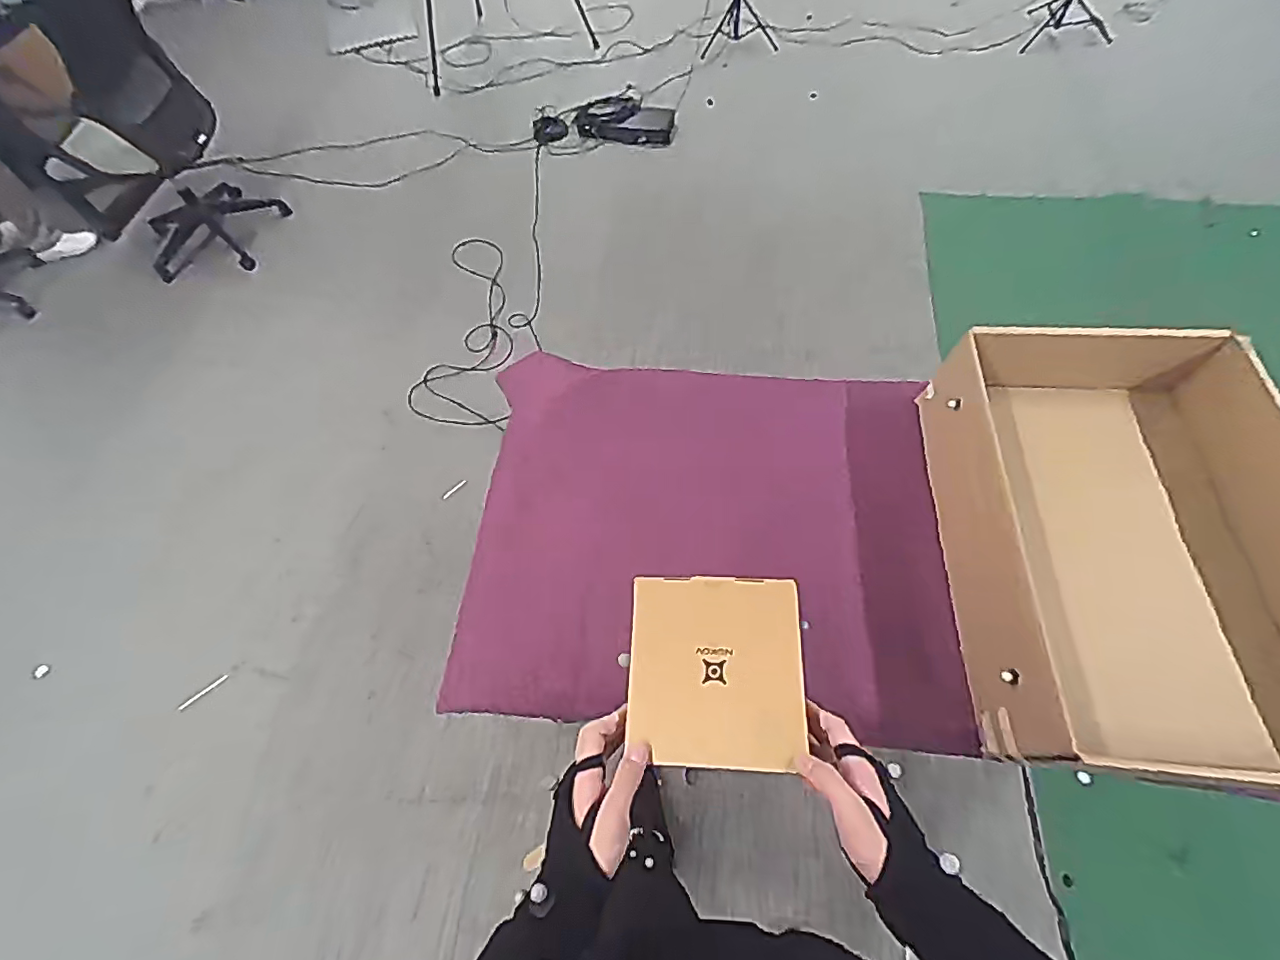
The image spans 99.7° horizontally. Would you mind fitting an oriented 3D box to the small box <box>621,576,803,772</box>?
[{"bbox_3d":[0.079,0.213,0.587,0.168,0.176,0.179,-1,62,8],"label":"small box"}]
